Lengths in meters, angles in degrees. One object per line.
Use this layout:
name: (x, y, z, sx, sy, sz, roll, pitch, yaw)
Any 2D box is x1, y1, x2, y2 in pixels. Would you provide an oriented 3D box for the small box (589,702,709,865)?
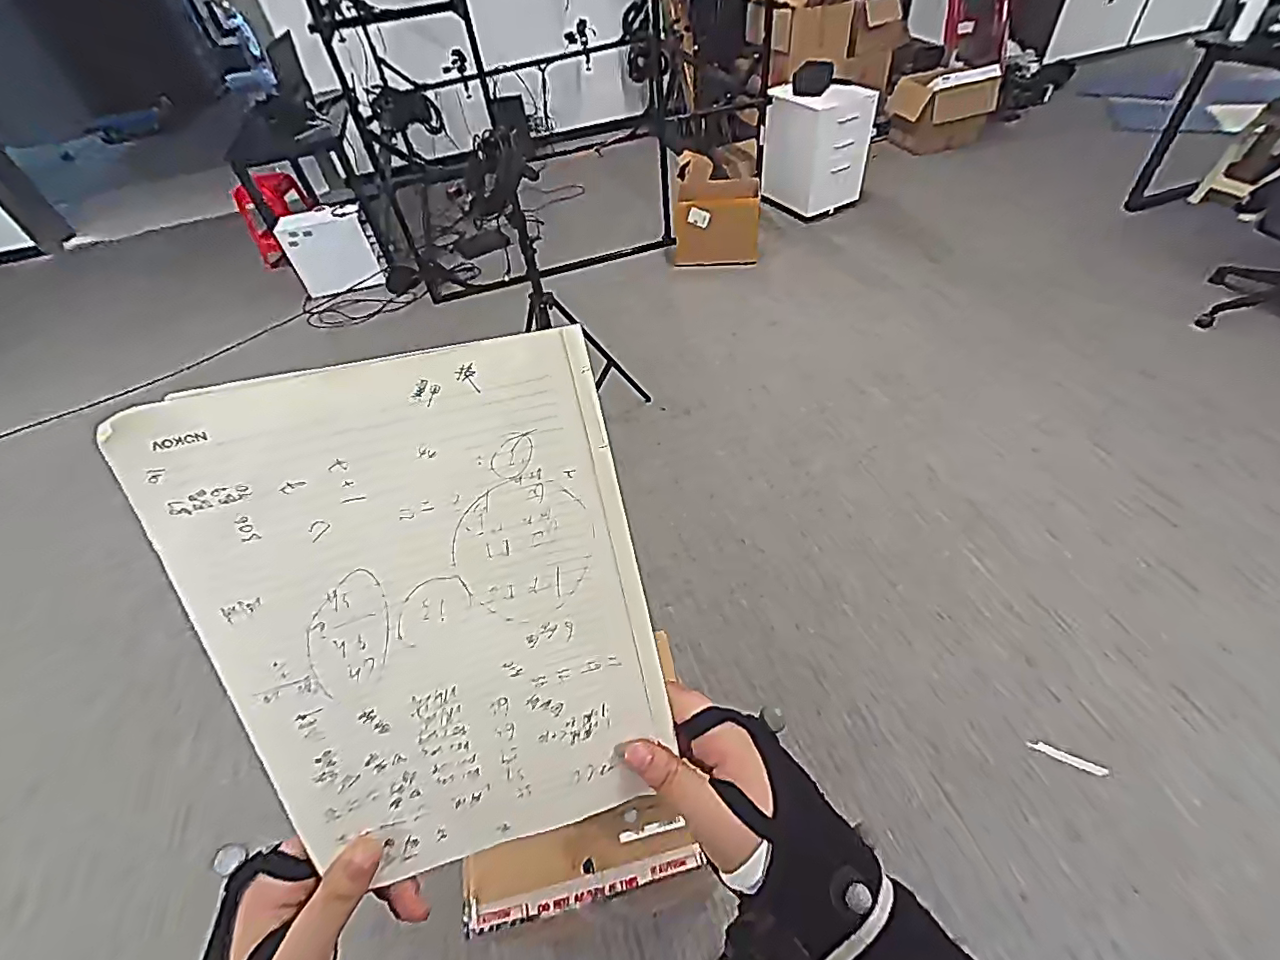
small box: (-0.003, 0.473, 0.843, 0.179, 0.176, 0.168, -14, 49, -7)

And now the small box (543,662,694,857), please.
small box: (-0.031, 0.370, 0.716, 0.168, 0.176, 0.179, -10, 50, -5)
